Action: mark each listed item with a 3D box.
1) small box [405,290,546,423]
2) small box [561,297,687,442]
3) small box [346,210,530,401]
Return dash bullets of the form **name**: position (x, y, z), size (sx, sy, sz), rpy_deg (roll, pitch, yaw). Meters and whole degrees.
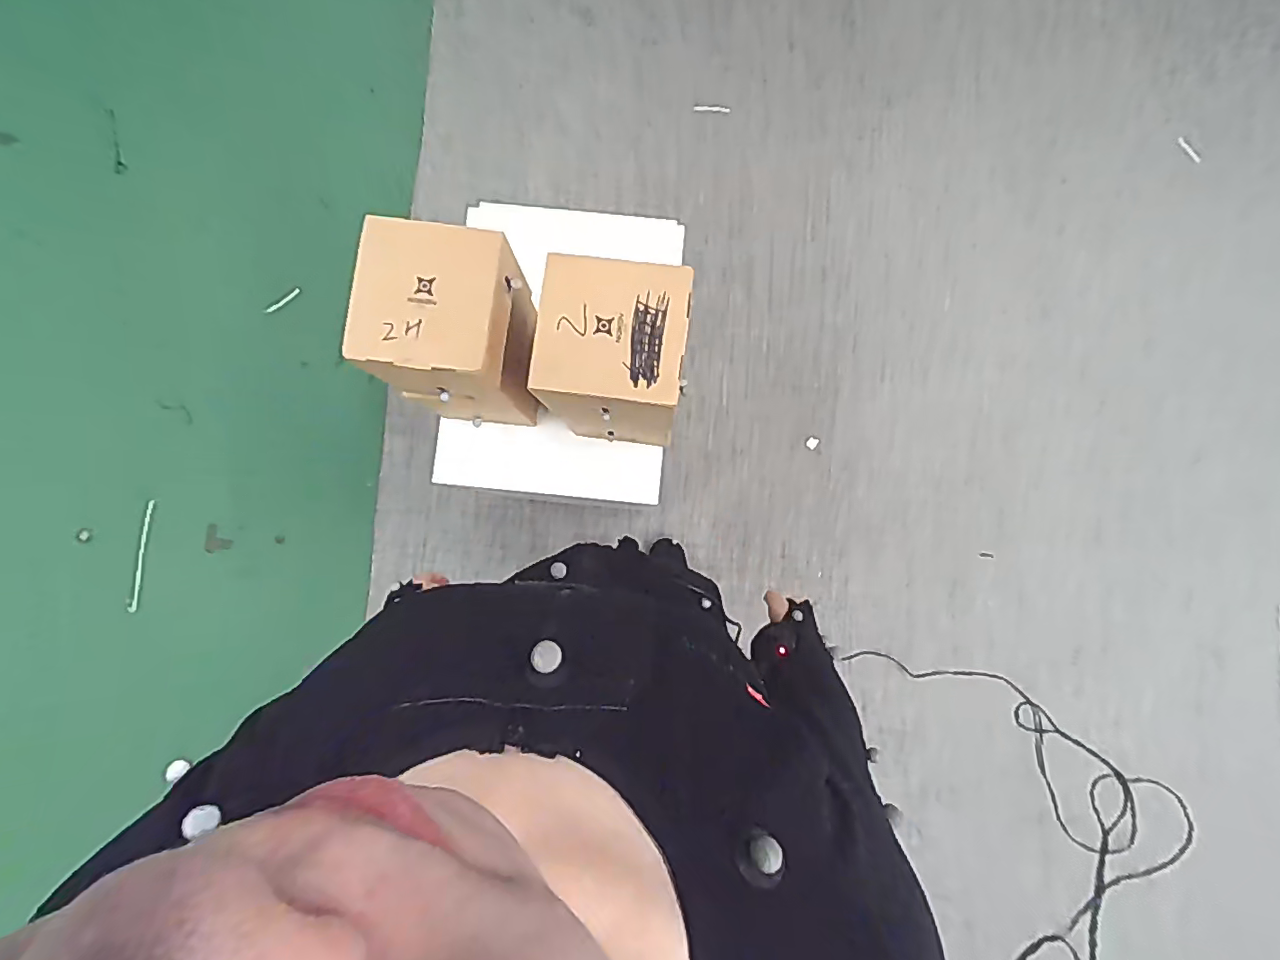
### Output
- **small box**: position (-0.252, -0.199, 0.871), size (0.168, 0.176, 0.179), rpy_deg (6, 86, 0)
- **small box**: position (-0.022, -0.168, 0.866), size (0.168, 0.176, 0.179), rpy_deg (8, 86, 2)
- **small box**: position (-0.248, -0.216, 0.707), size (0.168, 0.176, 0.179), rpy_deg (7, 86, 0)
